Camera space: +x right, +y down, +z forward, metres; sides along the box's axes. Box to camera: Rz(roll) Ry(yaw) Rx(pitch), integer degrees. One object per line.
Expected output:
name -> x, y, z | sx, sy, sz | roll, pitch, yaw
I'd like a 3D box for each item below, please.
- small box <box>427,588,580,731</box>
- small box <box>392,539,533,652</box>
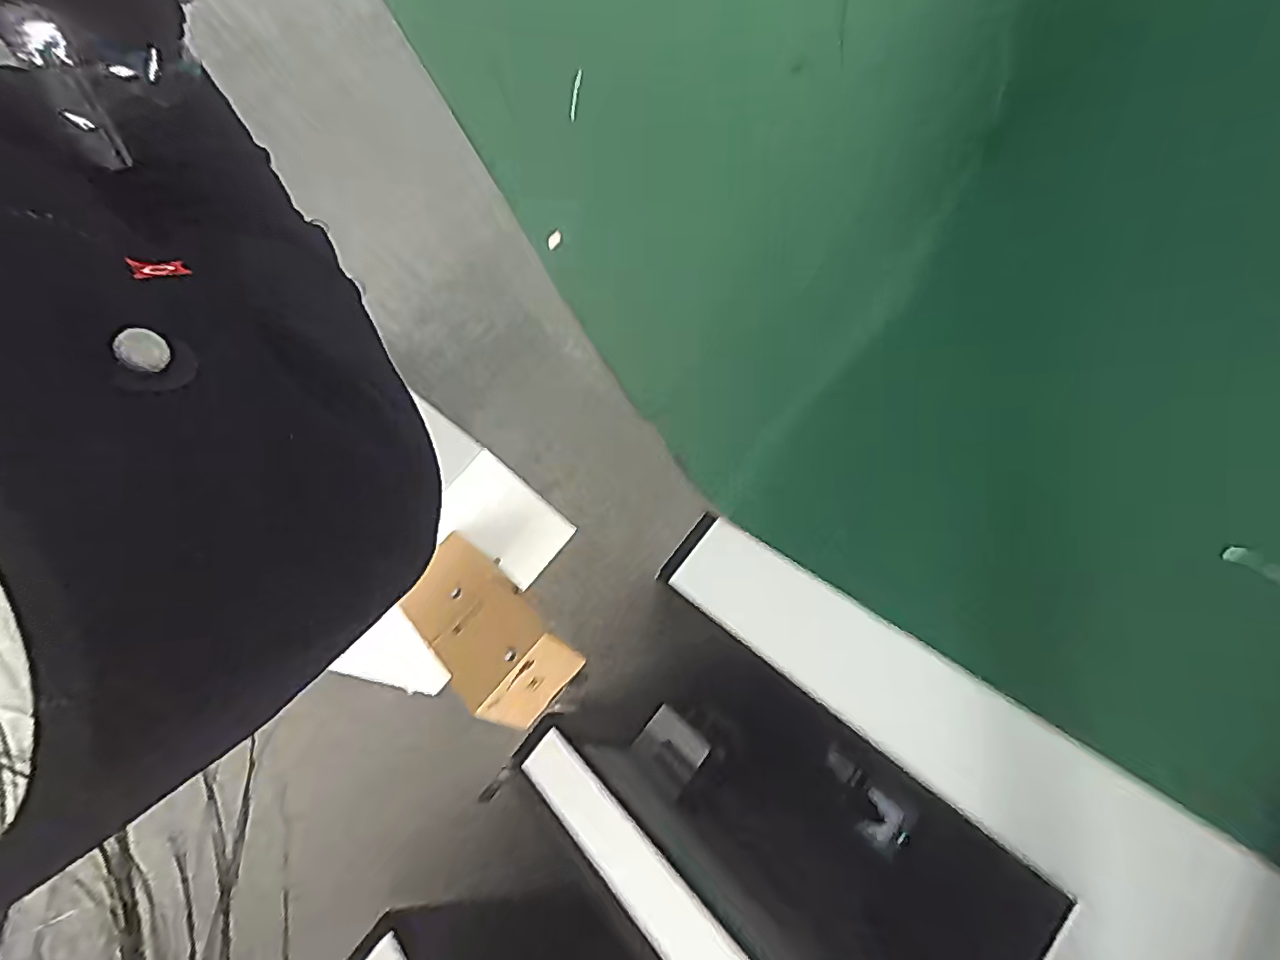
small box -> -0.249, 0.327, 0.994 | 0.168, 0.176, 0.179 | -48, 143, -9
small box -> -0.356, 0.248, 1.085 | 0.179, 0.176, 0.168 | -48, 144, -11
